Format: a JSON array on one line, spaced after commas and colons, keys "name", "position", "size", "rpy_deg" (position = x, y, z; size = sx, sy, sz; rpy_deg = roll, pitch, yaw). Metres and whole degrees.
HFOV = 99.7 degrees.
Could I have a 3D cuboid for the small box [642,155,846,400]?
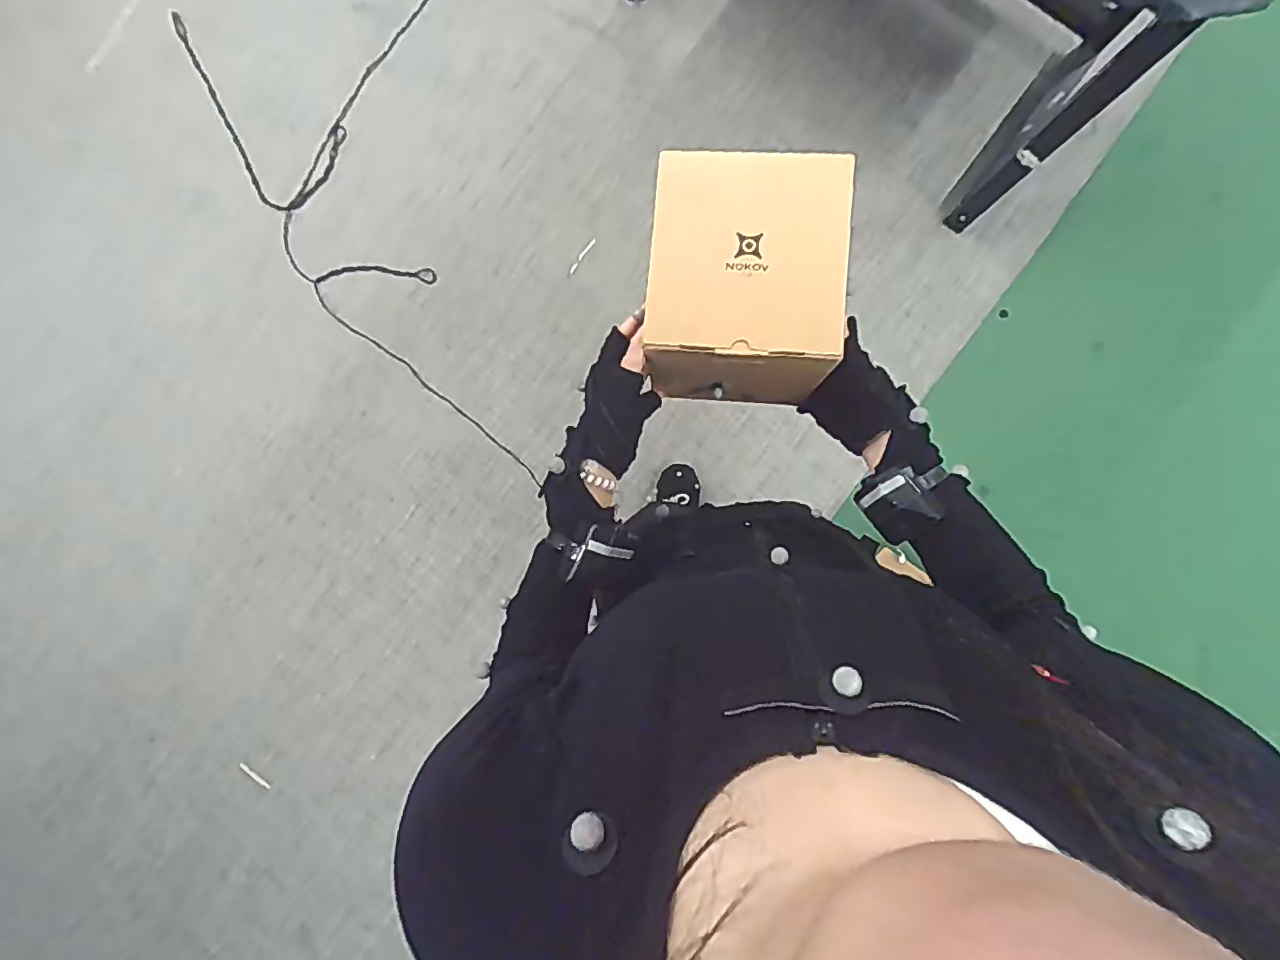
[{"name": "small box", "position": [0.095, -0.189, 0.545], "size": [0.168, 0.176, 0.179], "rpy_deg": [5, 87, 5]}]
